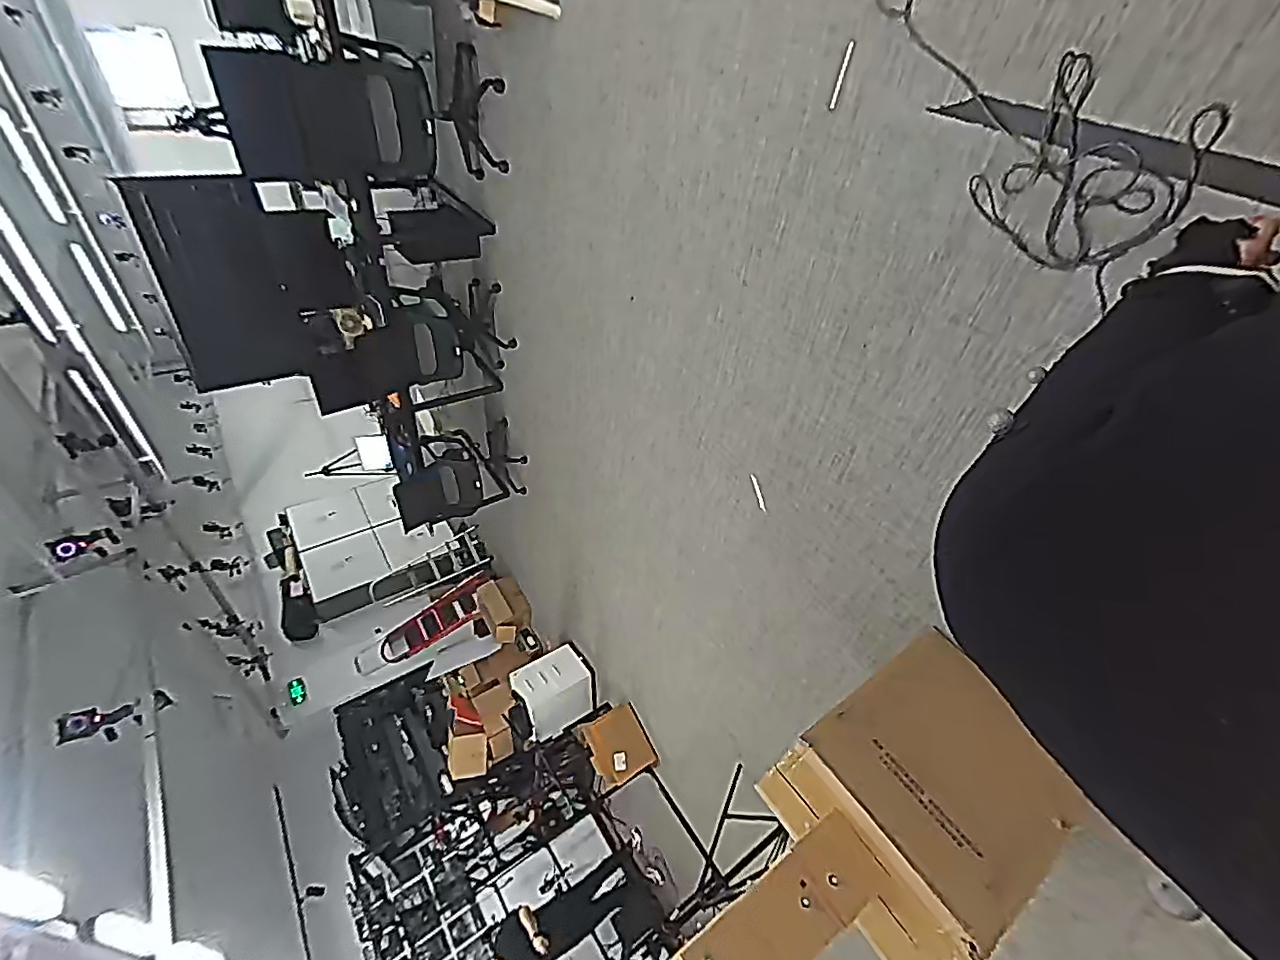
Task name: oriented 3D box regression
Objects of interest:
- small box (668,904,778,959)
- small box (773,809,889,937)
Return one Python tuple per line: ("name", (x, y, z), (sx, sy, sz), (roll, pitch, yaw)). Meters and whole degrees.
("small box", (0.188, 1.047, 1.149), (0.179, 0.176, 0.168), (48, 144, 33))
("small box", (0.460, 0.942, 1.303), (0.179, 0.176, 0.168), (49, 145, 34))
